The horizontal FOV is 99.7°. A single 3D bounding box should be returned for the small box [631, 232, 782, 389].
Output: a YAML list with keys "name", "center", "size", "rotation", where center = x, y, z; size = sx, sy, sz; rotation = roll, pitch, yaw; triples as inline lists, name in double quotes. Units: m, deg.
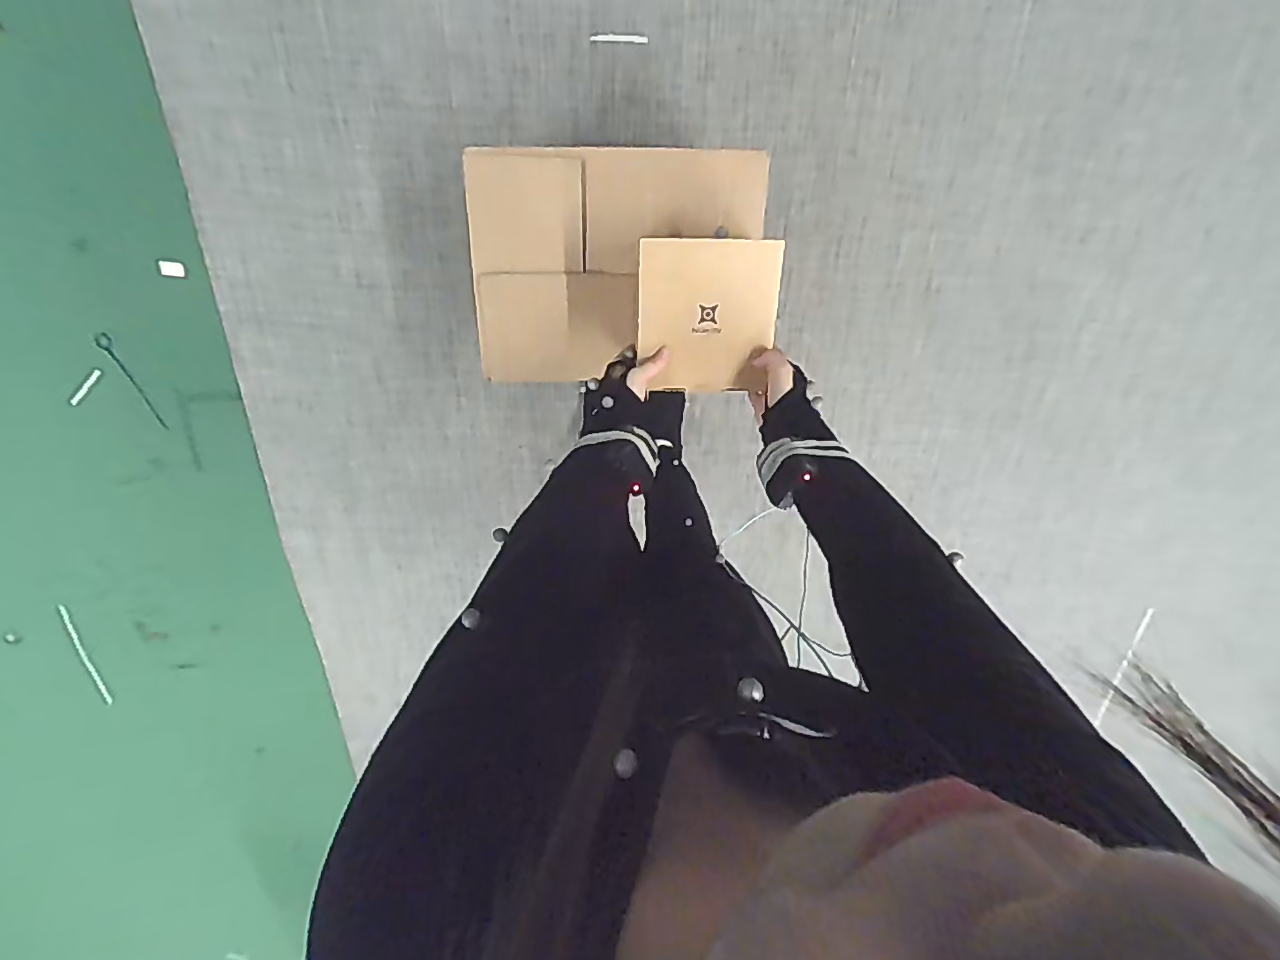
- name: "small box"
  center: [0.073, -0.227, 0.709]
  size: [0.168, 0.176, 0.179]
  rotation: [1, 116, -2]
